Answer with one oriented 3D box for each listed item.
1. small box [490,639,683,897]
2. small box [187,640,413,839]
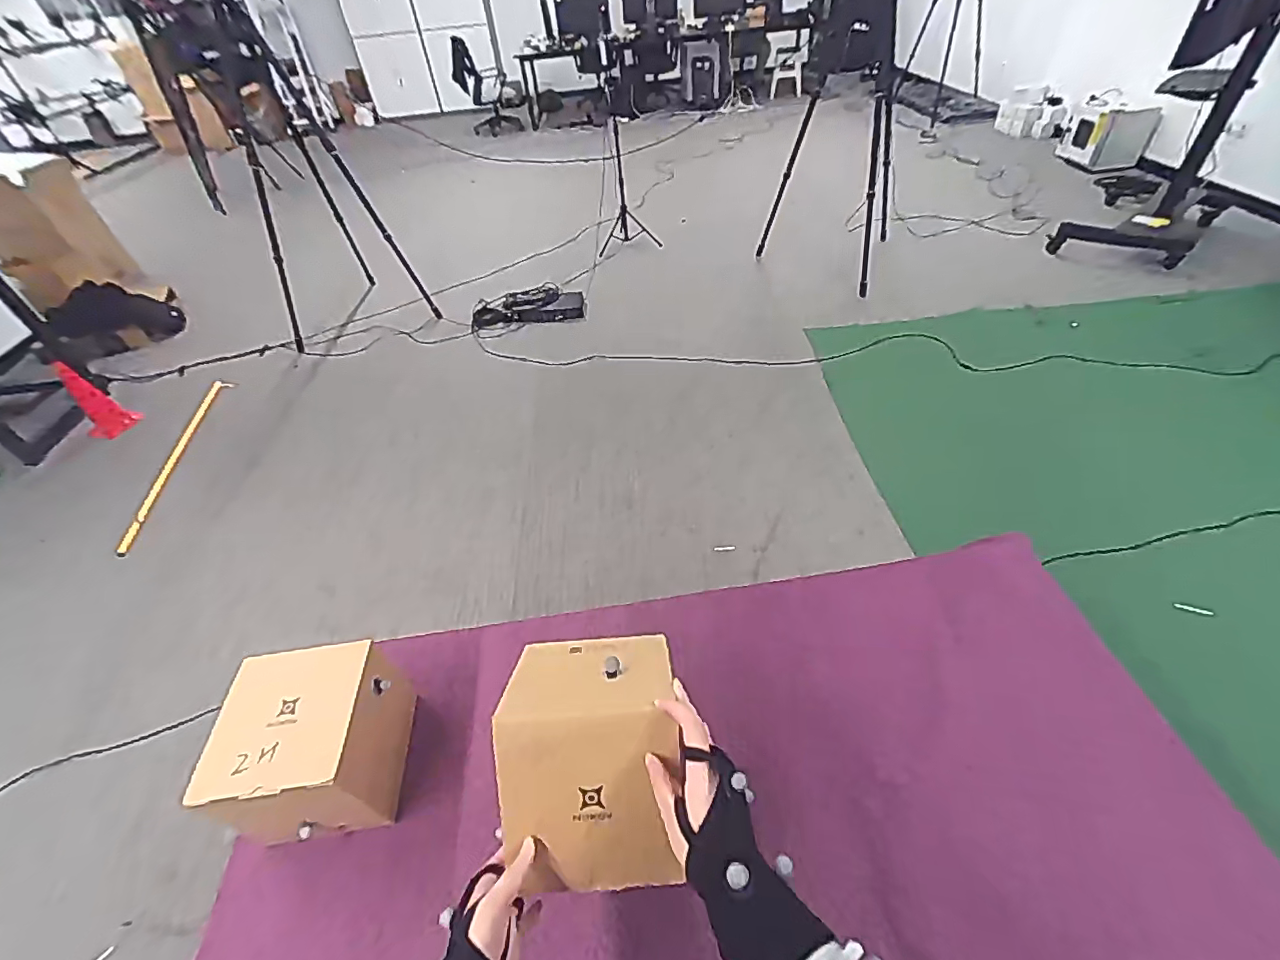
[{"bbox_3d":[-0.049,0.276,0.560,0.168,0.179,0.176,-4,8,-1],"label":"small box"},{"bbox_3d":[-0.414,0.335,0.701,0.168,0.176,0.179,-8,45,-1],"label":"small box"}]
